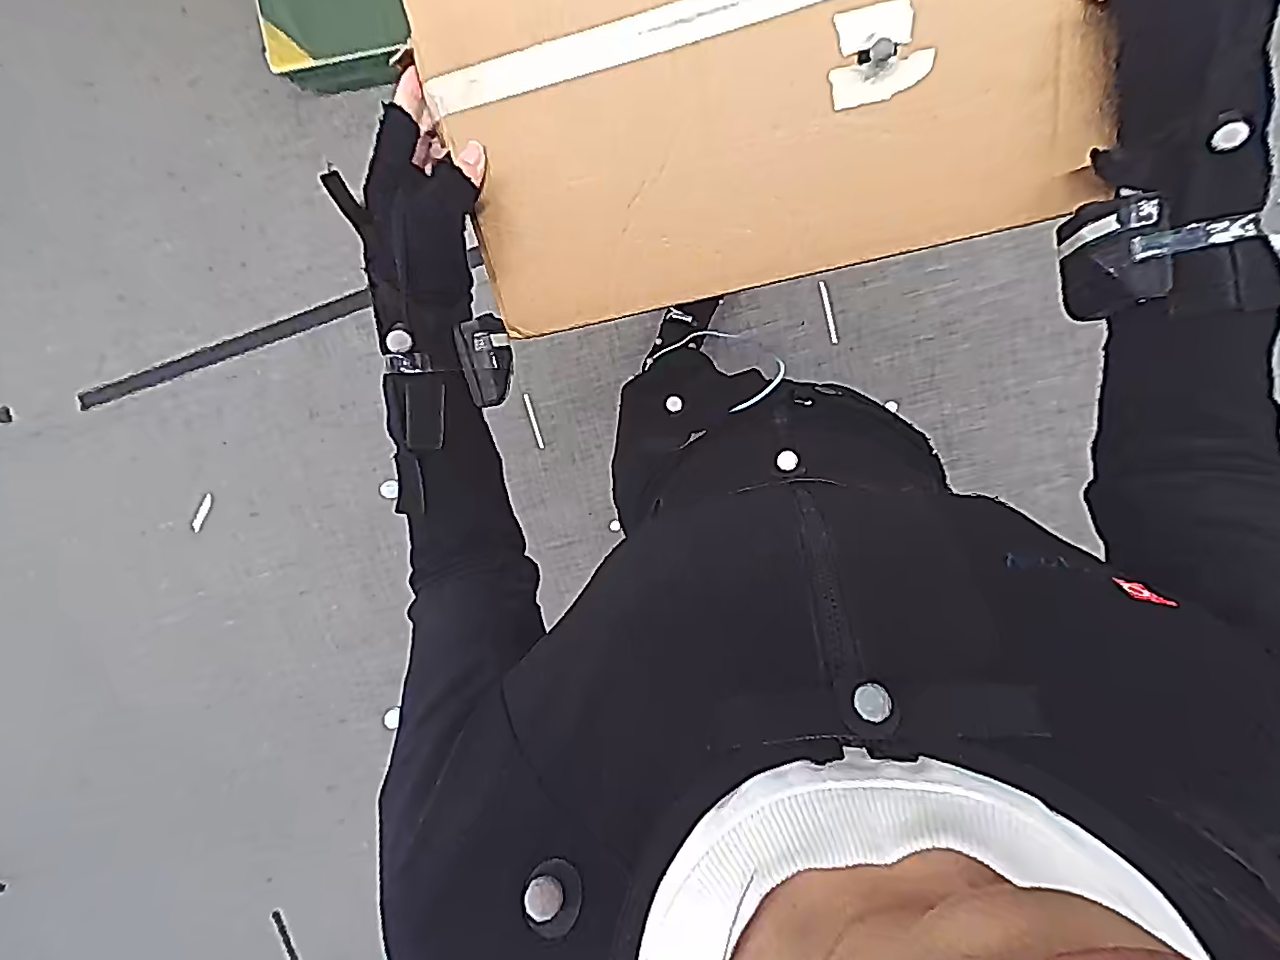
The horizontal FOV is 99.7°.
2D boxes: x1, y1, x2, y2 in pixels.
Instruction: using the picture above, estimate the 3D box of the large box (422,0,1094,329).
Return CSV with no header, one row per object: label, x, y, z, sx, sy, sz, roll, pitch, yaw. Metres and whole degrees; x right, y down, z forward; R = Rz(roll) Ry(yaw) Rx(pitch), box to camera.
large box,0.075,-0.343,0.472,0.408,0.320,0.320,-10,111,8
